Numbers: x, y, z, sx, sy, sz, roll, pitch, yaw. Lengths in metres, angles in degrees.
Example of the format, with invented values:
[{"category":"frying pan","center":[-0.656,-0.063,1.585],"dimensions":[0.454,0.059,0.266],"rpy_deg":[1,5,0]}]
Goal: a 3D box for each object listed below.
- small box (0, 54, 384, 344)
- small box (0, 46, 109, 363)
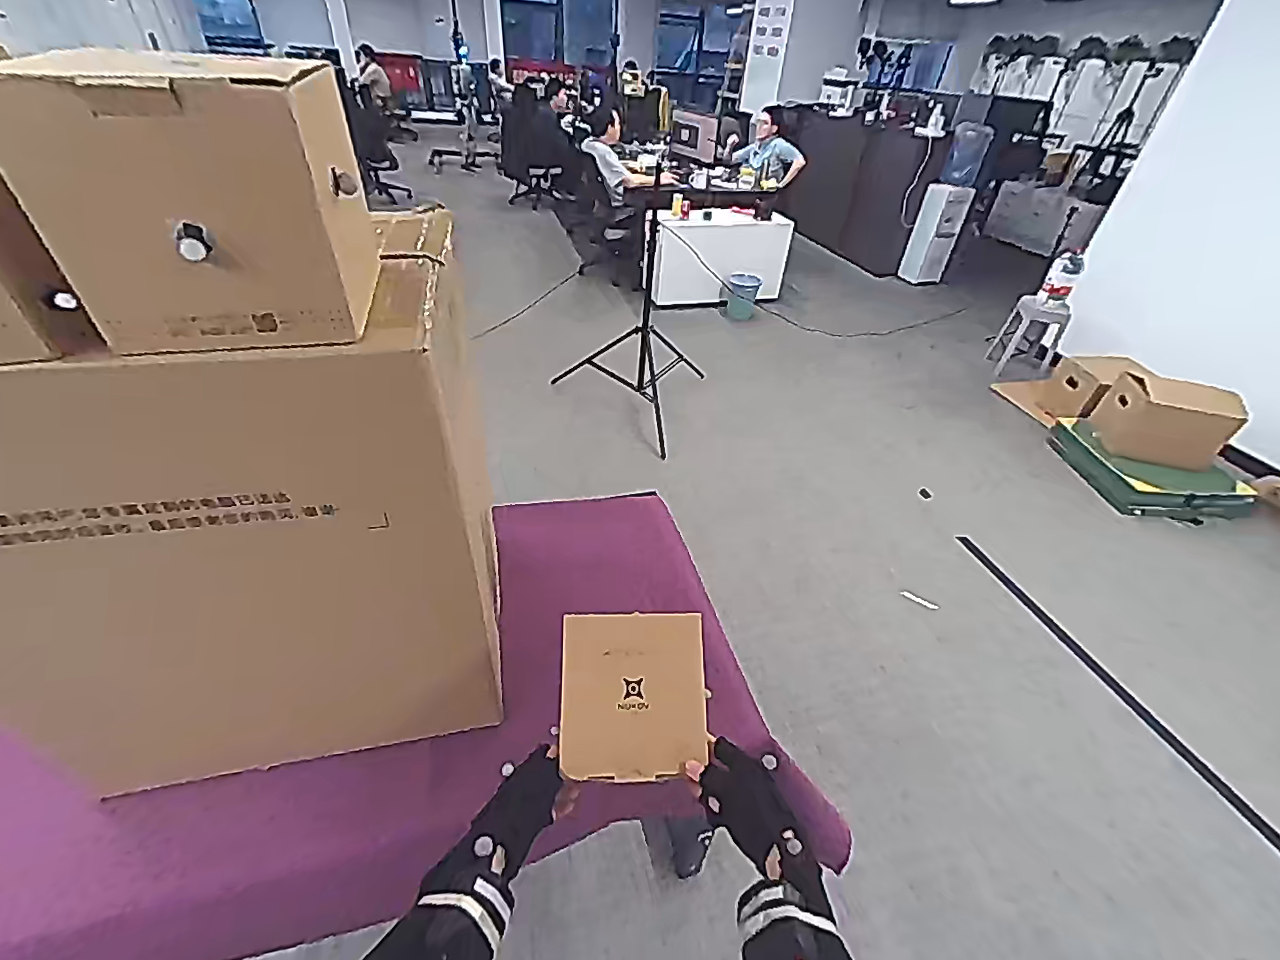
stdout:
[{"category":"small box","center":[-0.311,-0.215,0.422],"dimensions":[0.168,0.176,0.179],"rpy_deg":[-6,42,-14]},{"category":"small box","center":[-0.504,-0.181,0.360],"dimensions":[0.179,0.176,0.168],"rpy_deg":[-11,43,-18]}]
